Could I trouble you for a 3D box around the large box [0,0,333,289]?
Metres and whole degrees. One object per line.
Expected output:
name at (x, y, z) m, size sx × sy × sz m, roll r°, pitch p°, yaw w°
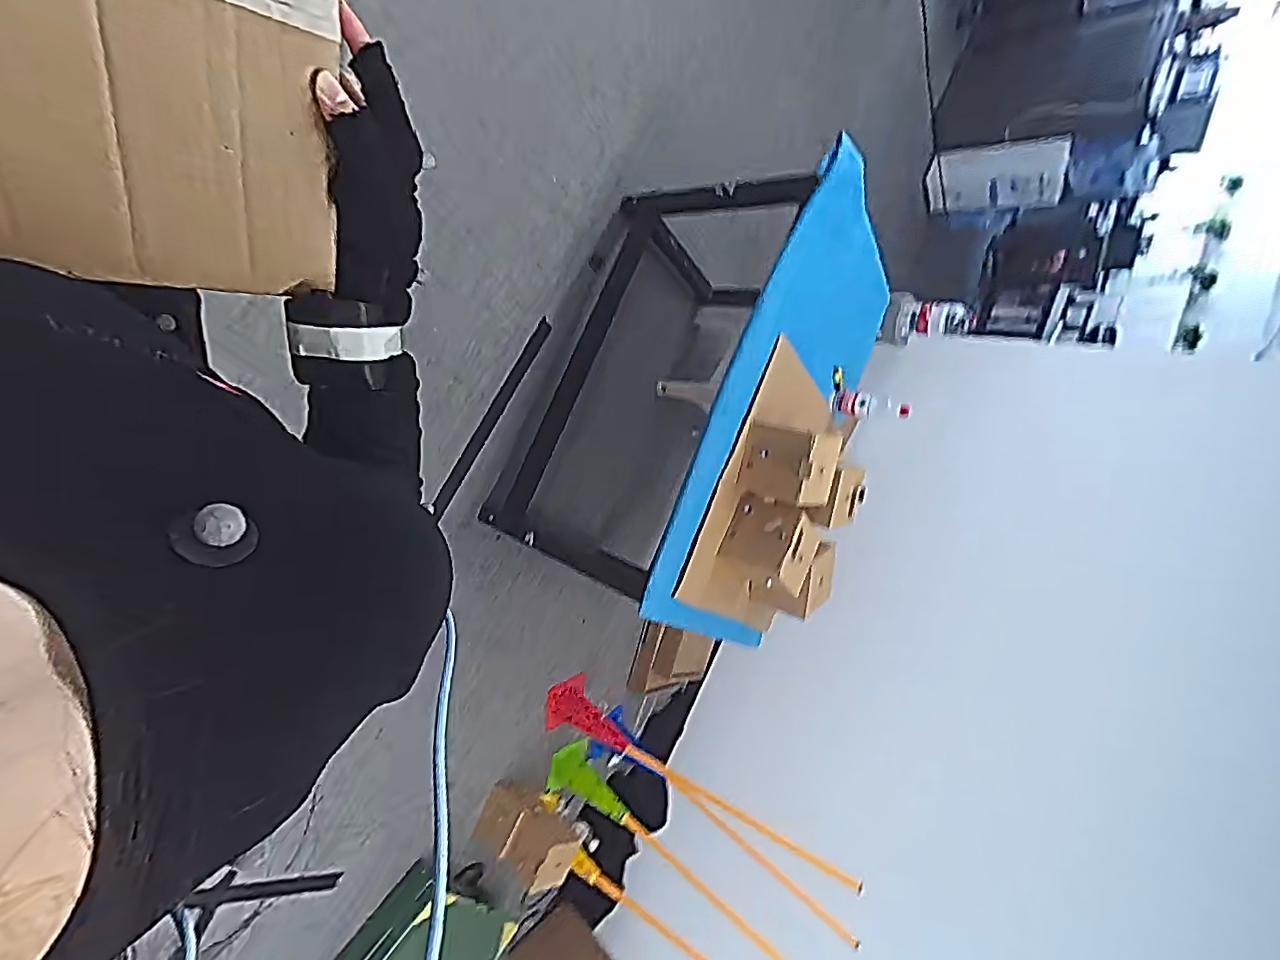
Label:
large box at (-0.421, -0.310, 0.268) m, size 0.408 × 0.320 × 0.320 m, roll -11°, pitch 131°, yaw -42°
